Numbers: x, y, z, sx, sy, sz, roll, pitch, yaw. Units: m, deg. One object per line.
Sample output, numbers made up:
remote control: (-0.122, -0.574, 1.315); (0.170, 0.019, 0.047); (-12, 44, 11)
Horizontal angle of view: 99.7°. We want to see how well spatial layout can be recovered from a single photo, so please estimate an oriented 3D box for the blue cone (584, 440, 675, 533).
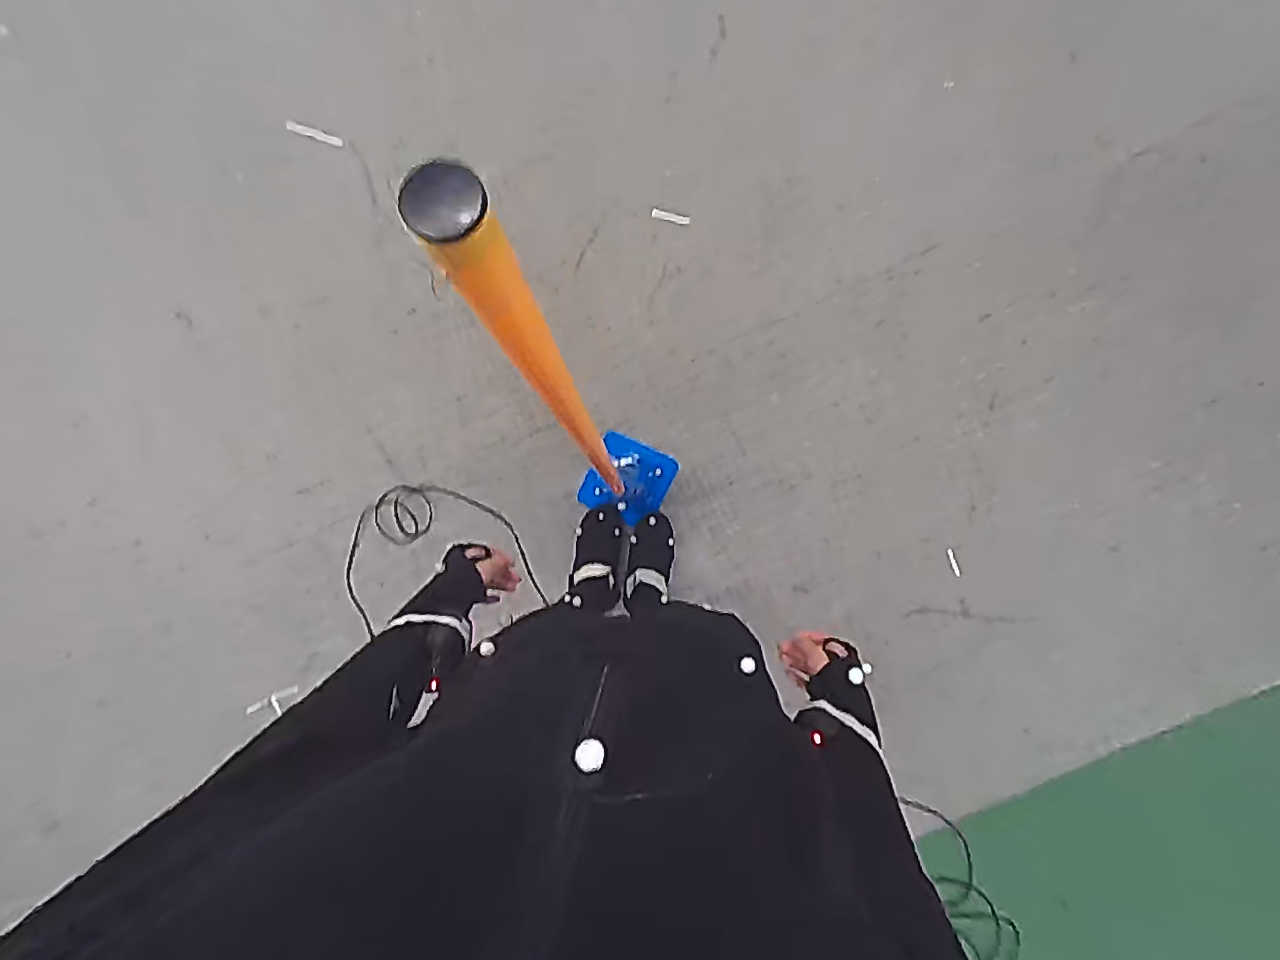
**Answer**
blue cone: (-0.029, 0.018, 1.141); (0.192, 0.380, 0.193); (25, 92, 0)
